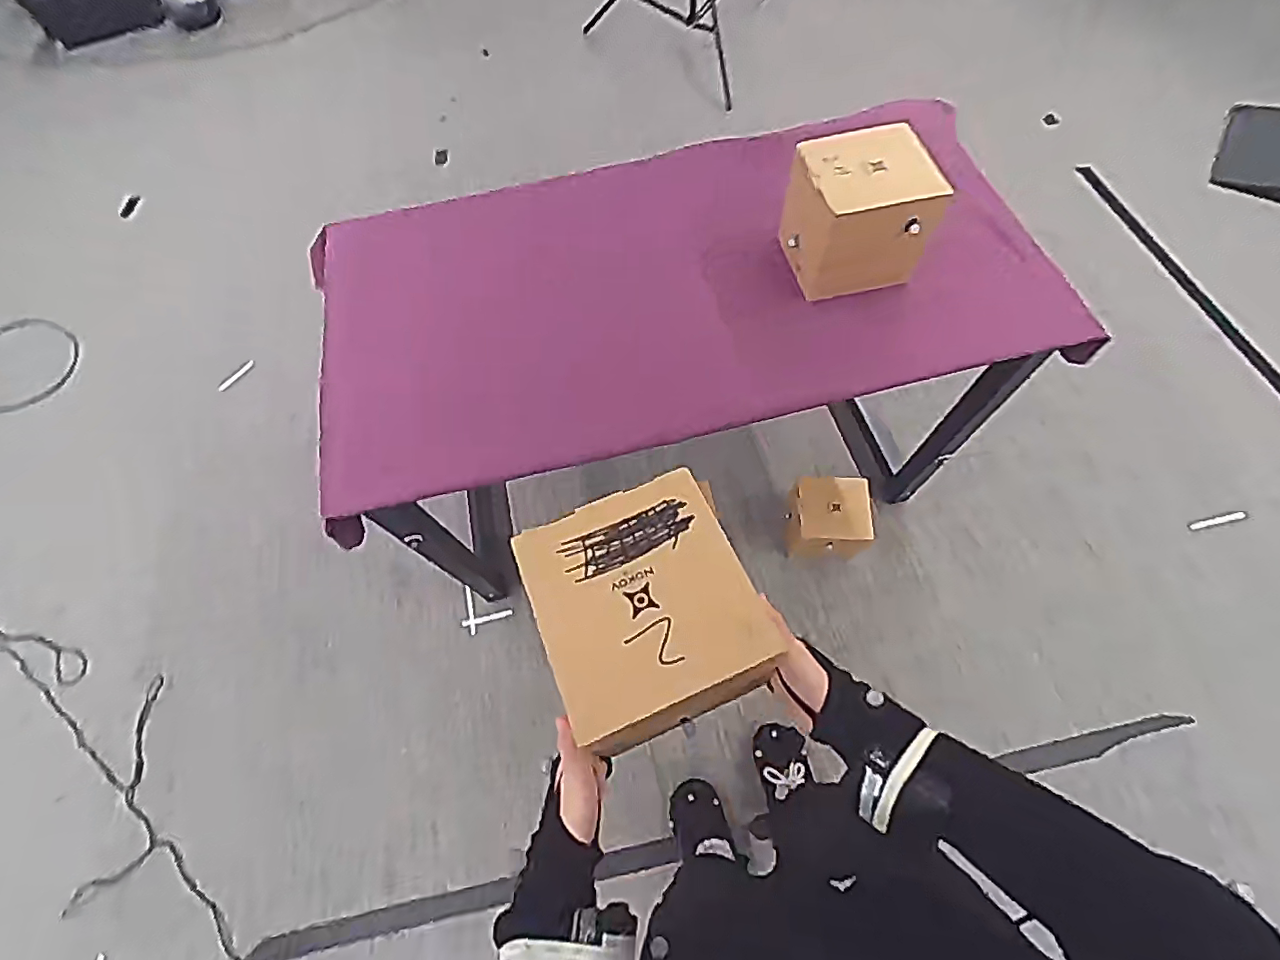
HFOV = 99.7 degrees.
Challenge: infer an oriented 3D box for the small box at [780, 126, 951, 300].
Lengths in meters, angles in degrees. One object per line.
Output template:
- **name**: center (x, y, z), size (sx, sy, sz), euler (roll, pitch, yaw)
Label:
- **small box**: center (0.340, -0.414, 0.855), size (0.179, 0.176, 0.168), euler (-12, 64, -1)

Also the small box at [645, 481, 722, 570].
- **small box**: center (0.112, 0.127, 1.426), size (0.168, 0.176, 0.179), euler (-11, 64, -3)

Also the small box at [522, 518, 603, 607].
- **small box**: center (-0.197, 0.221, 1.400), size (0.168, 0.176, 0.179), euler (-12, 64, -2)

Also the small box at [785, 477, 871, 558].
- **small box**: center (0.485, 0.101, 1.415), size (0.179, 0.176, 0.168), euler (2, 66, 6)
